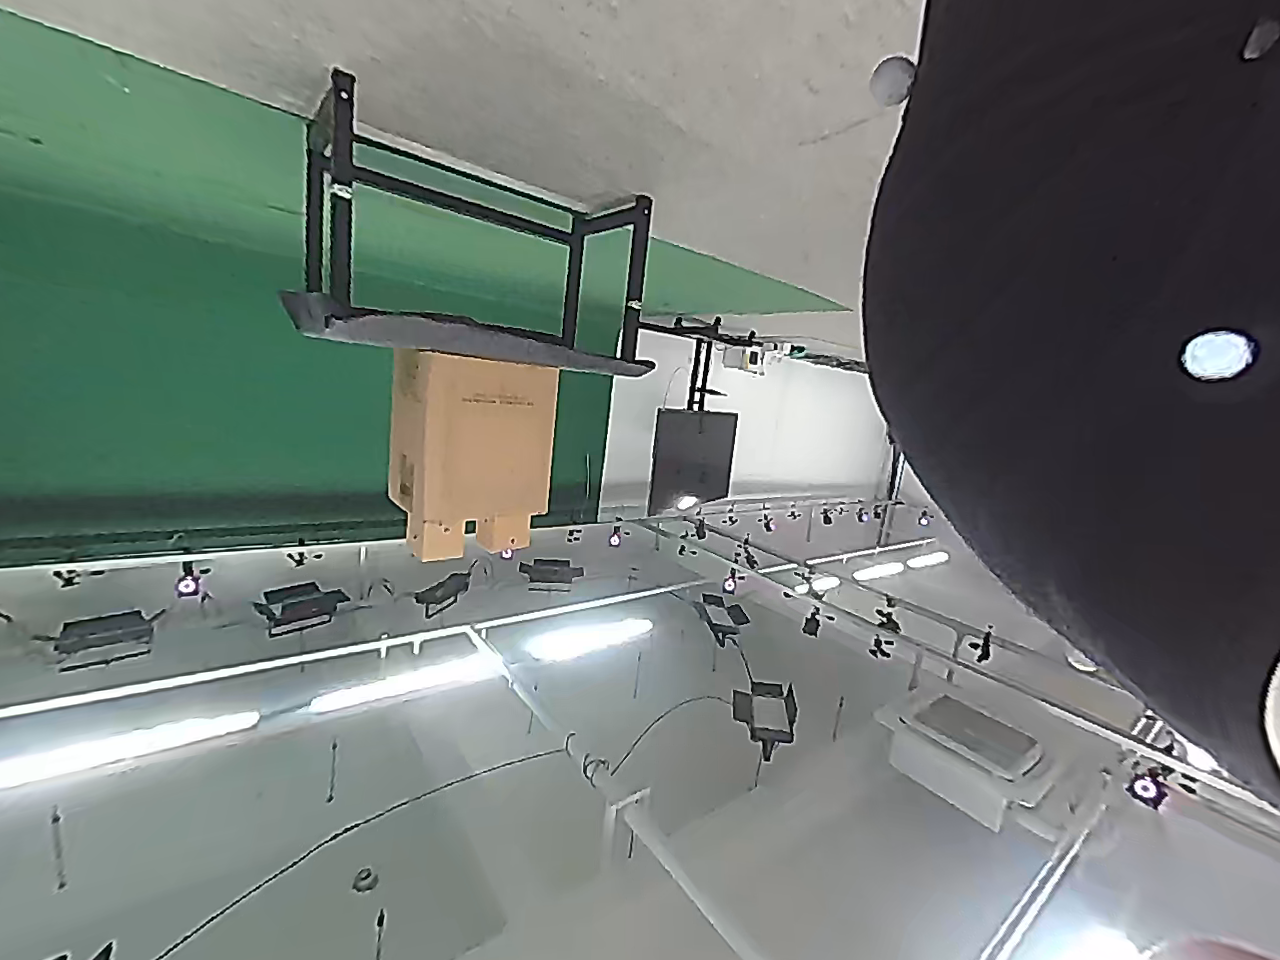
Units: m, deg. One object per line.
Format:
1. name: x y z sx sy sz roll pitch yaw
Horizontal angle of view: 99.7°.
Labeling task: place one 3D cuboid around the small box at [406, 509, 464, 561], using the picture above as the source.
1. small box: -0.820 0.214 2.167 0.168 0.176 0.179 -1 -170 -43

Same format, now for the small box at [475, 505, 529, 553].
1. small box: -0.598 0.205 2.351 0.179 0.176 0.168 -1 -170 -44
